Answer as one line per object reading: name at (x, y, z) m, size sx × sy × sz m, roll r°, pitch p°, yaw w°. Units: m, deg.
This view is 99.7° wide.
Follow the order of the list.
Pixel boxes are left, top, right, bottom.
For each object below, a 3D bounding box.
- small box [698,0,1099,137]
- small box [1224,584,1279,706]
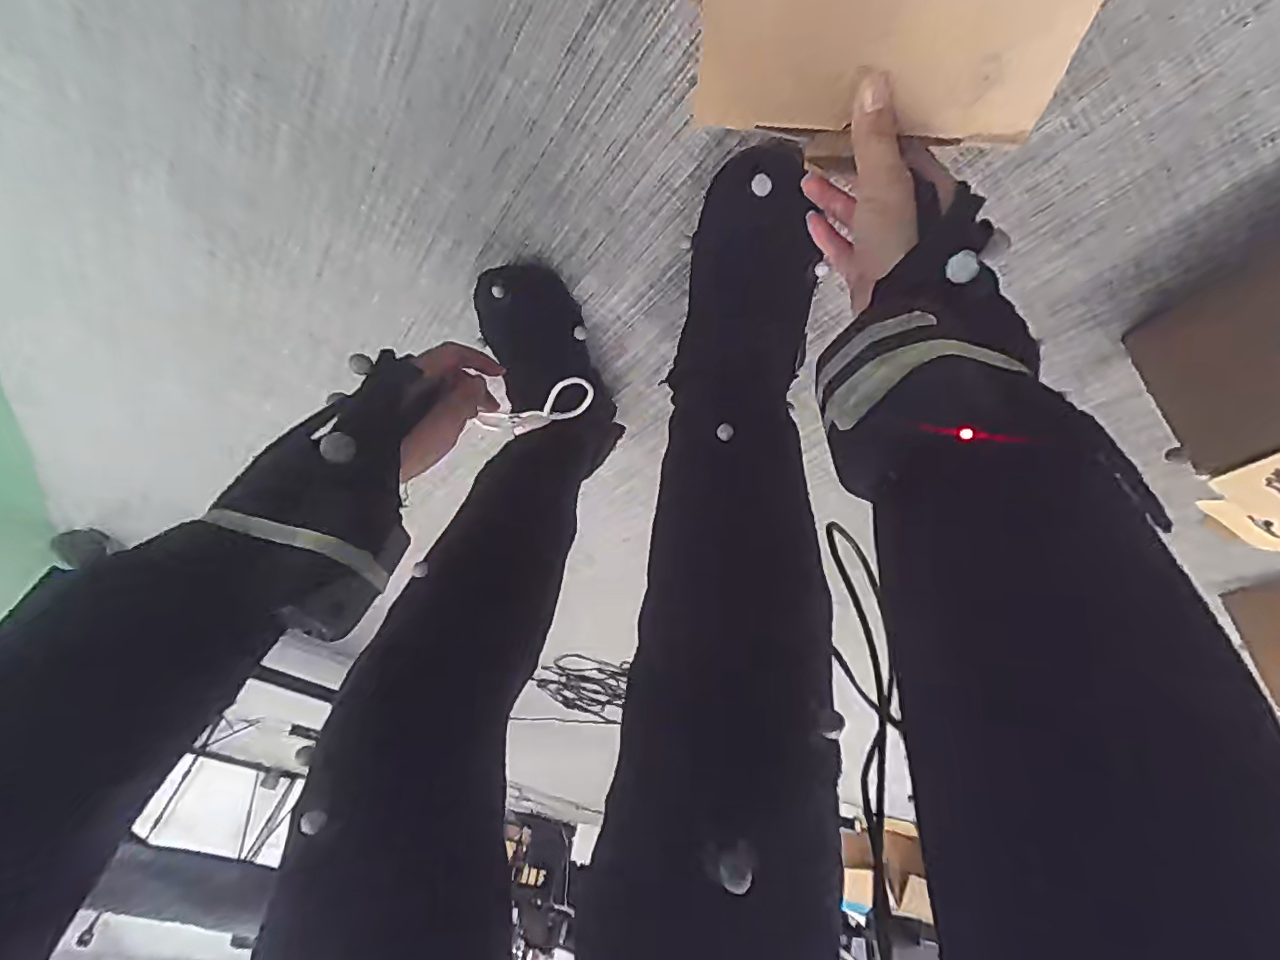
small box at (0.125, -0.294, 0.252) m, size 0.168 × 0.176 × 0.179 m, roll 7°, pitch 142°, yaw 6°
small box at (0.925, 0.231, 0.694) m, size 0.168 × 0.176 × 0.179 m, roll 32°, pitch 140°, yaw -24°
